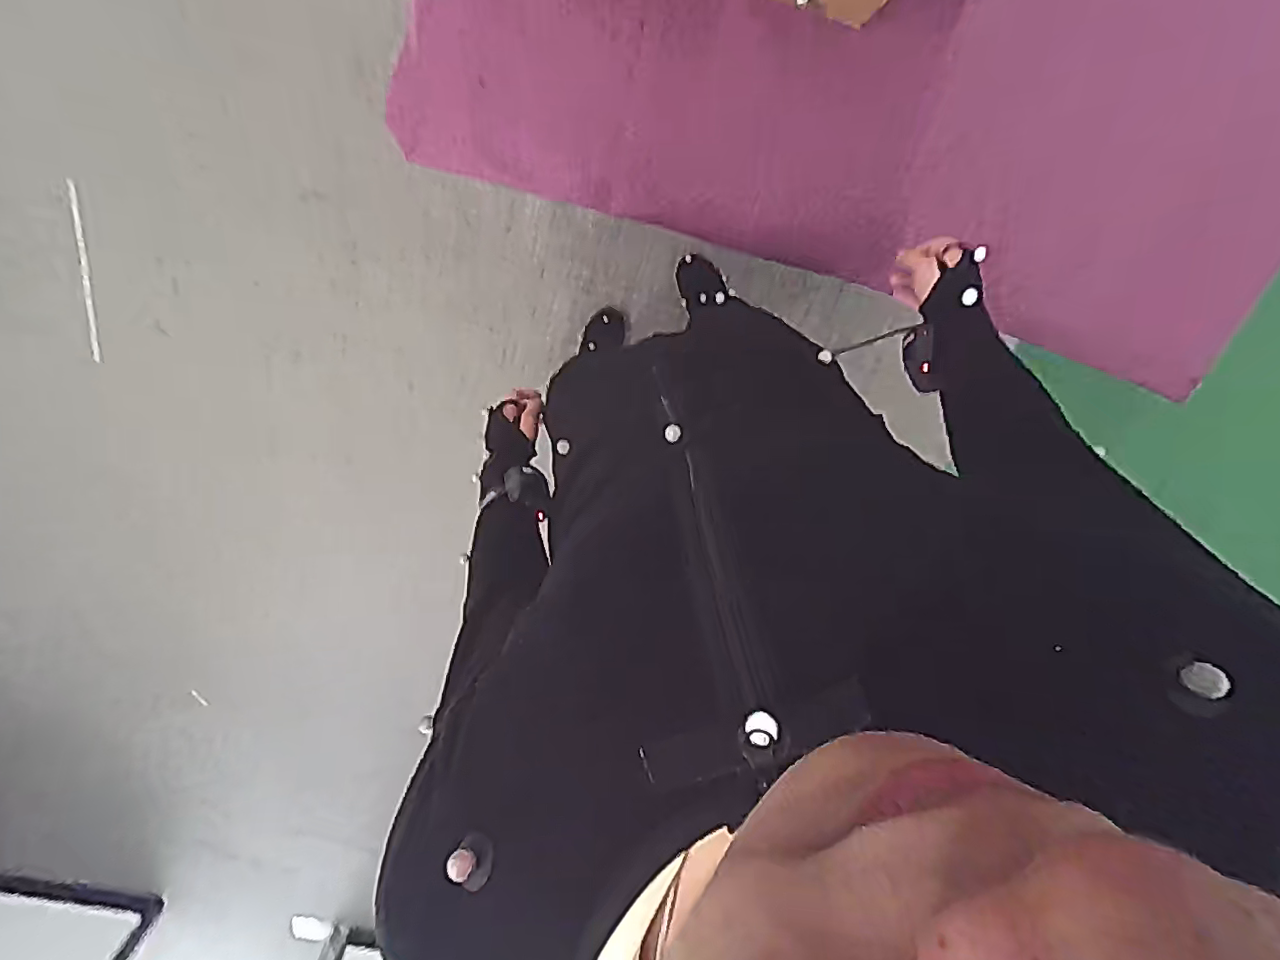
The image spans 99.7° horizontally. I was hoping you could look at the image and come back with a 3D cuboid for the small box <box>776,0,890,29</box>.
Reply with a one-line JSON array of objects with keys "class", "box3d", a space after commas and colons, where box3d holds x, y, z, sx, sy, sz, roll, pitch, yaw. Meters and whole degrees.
[{"class": "small box", "box3d": [0.212, -0.605, 0.539, 0.168, 0.176, 0.179, 15, 114, -6]}]
